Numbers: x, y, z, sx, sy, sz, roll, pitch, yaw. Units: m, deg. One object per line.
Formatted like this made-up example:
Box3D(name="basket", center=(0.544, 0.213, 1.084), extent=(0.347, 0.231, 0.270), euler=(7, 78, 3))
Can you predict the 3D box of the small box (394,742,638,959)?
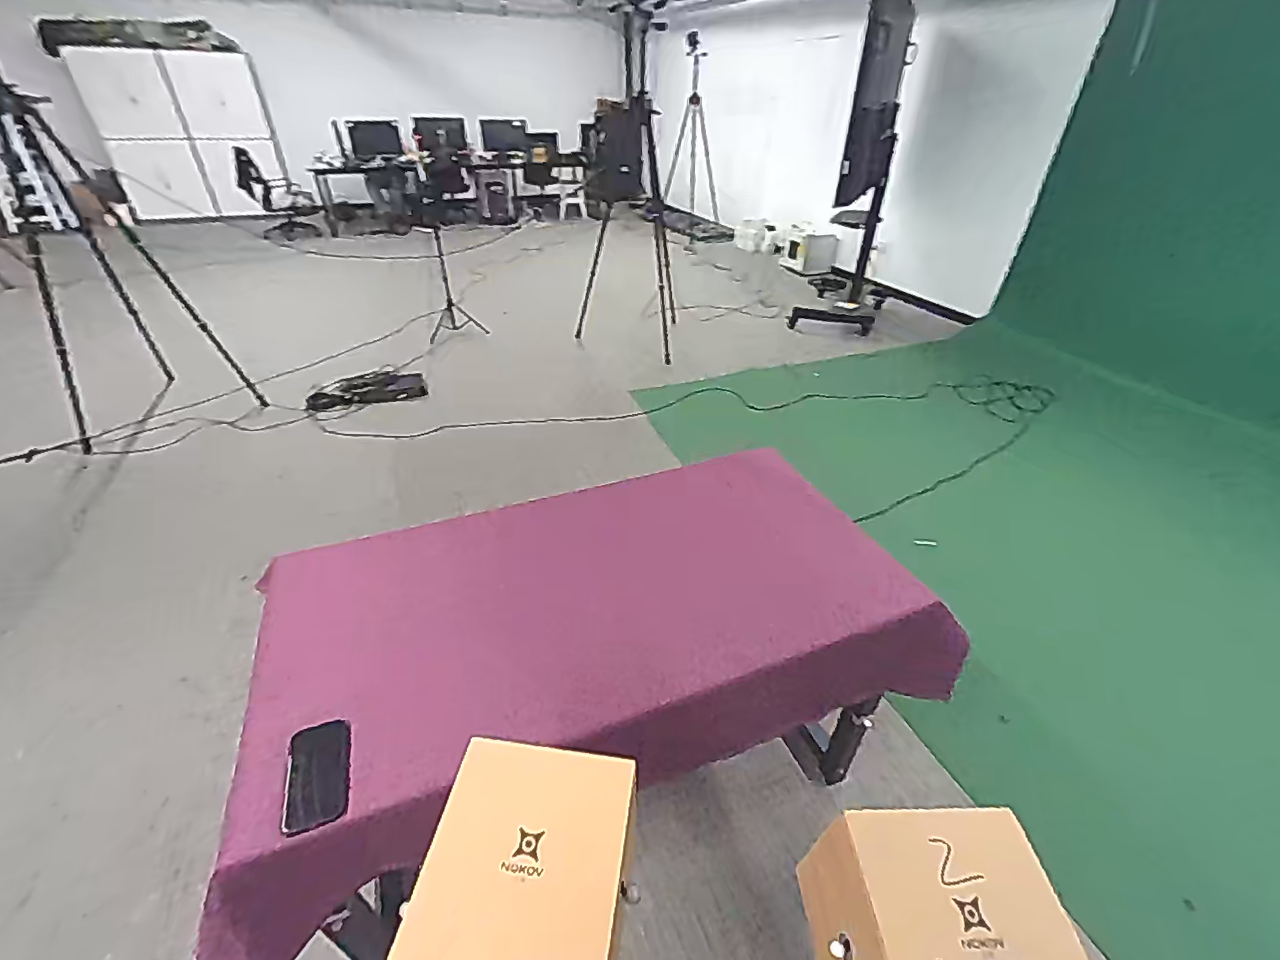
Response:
Box3D(name="small box", center=(-0.097, 0.382, 0.508), extent=(0.168, 0.176, 0.179), euler=(6, 39, 4))
